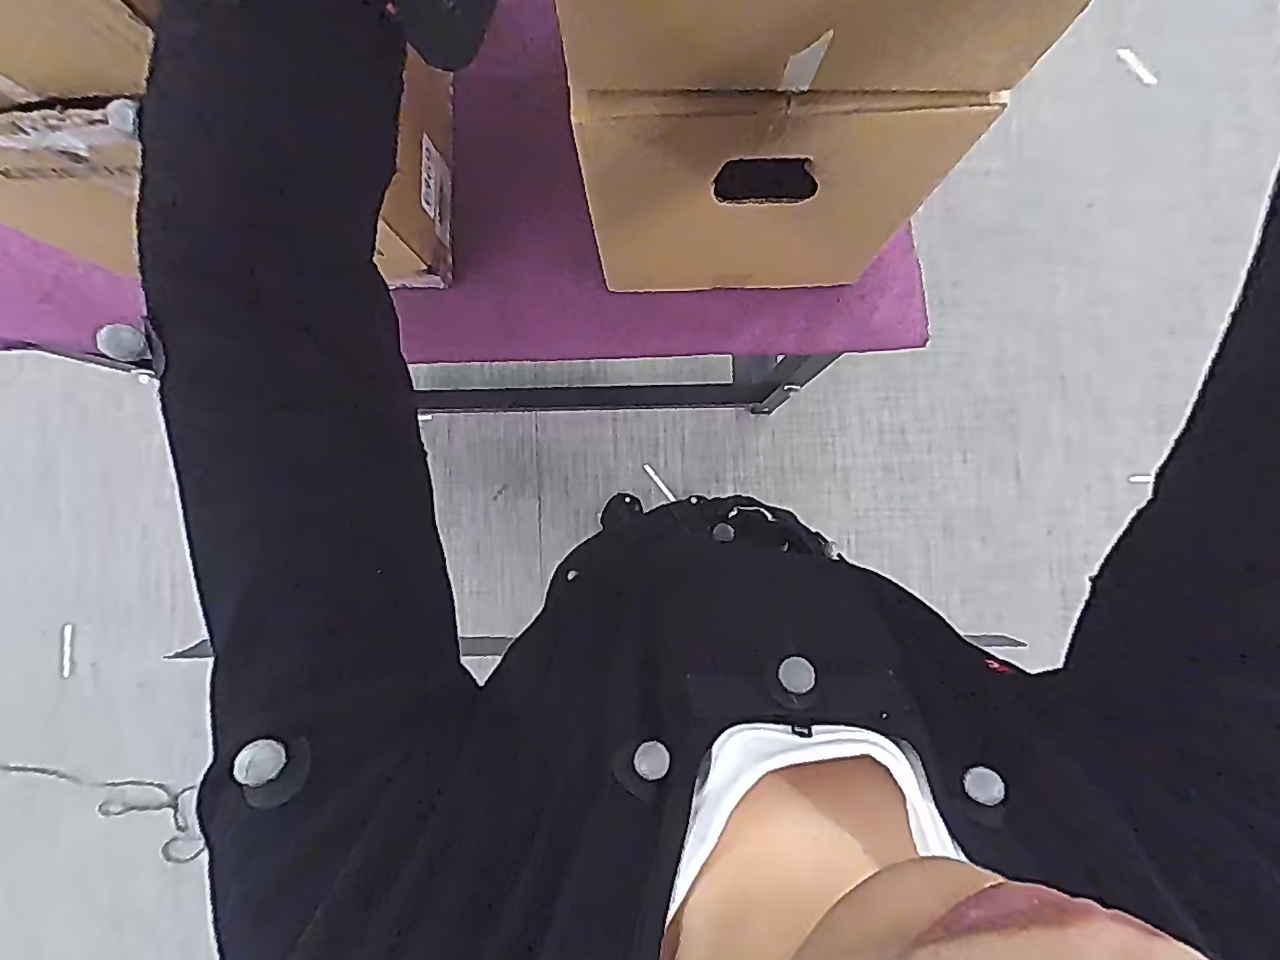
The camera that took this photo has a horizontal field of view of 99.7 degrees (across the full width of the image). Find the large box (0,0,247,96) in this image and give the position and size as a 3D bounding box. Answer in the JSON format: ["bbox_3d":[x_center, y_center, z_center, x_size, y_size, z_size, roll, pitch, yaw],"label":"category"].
[{"bbox_3d":[-0.440,-0.487,0.253,0.320,0.320,0.408,0,88,6],"label":"large box"}]
